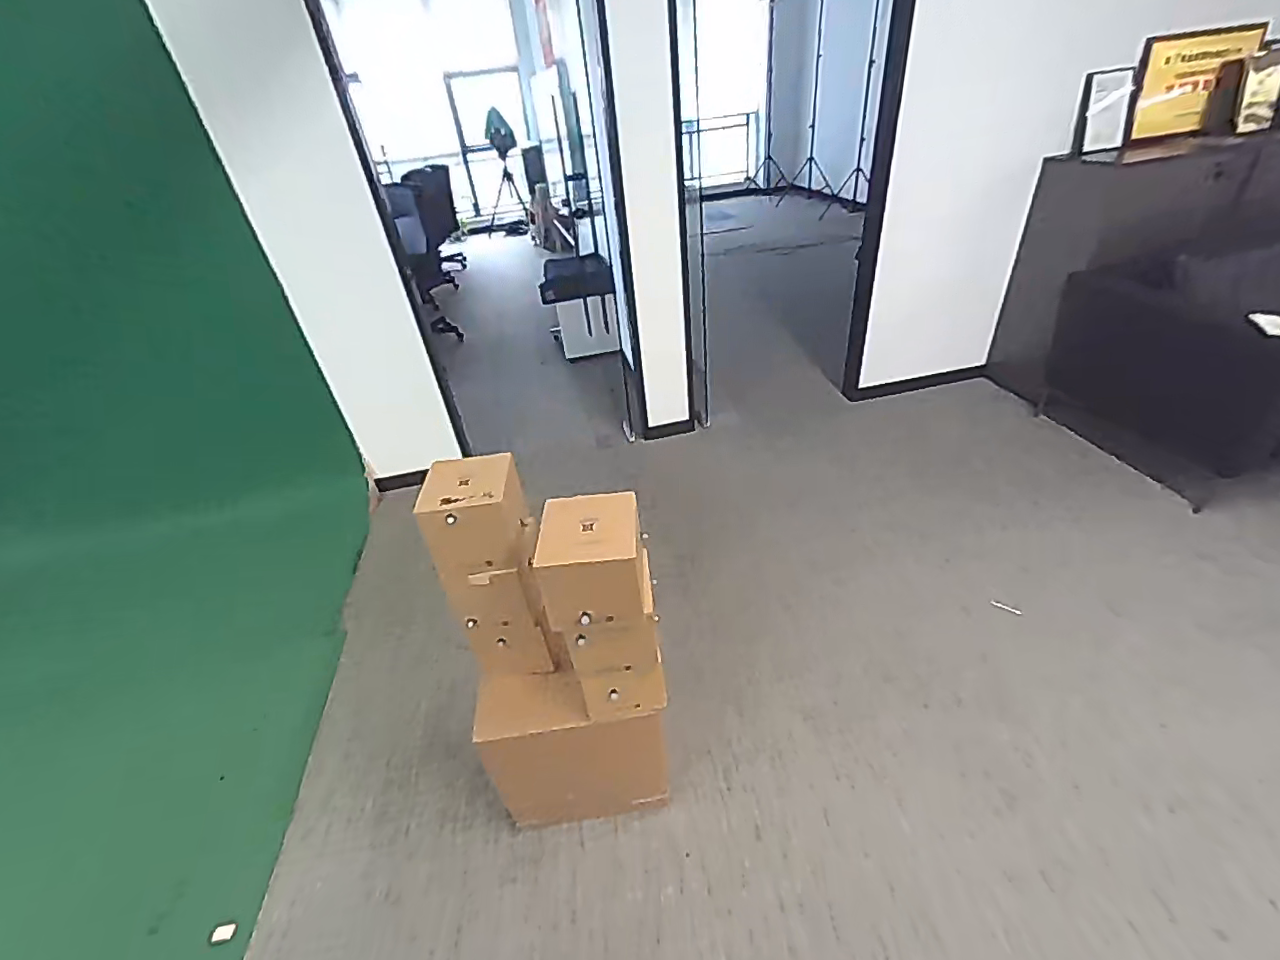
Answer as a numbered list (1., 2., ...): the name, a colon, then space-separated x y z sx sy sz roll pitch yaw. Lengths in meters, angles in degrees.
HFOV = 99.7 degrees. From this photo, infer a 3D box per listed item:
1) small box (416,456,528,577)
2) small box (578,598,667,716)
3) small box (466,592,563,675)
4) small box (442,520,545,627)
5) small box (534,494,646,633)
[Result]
1. small box: -0.330 0.073 1.104 0.168 0.176 0.179 -8 34 -1
2. small box: -0.039 0.390 1.178 0.168 0.176 0.179 -9 35 -4
3. small box: -0.288 0.345 1.285 0.179 0.176 0.168 -4 35 2
4. small box: -0.309 0.210 1.193 0.168 0.176 0.179 -4 34 4
5. small box: -0.080 0.146 0.961 0.168 0.176 0.179 -5 36 3
